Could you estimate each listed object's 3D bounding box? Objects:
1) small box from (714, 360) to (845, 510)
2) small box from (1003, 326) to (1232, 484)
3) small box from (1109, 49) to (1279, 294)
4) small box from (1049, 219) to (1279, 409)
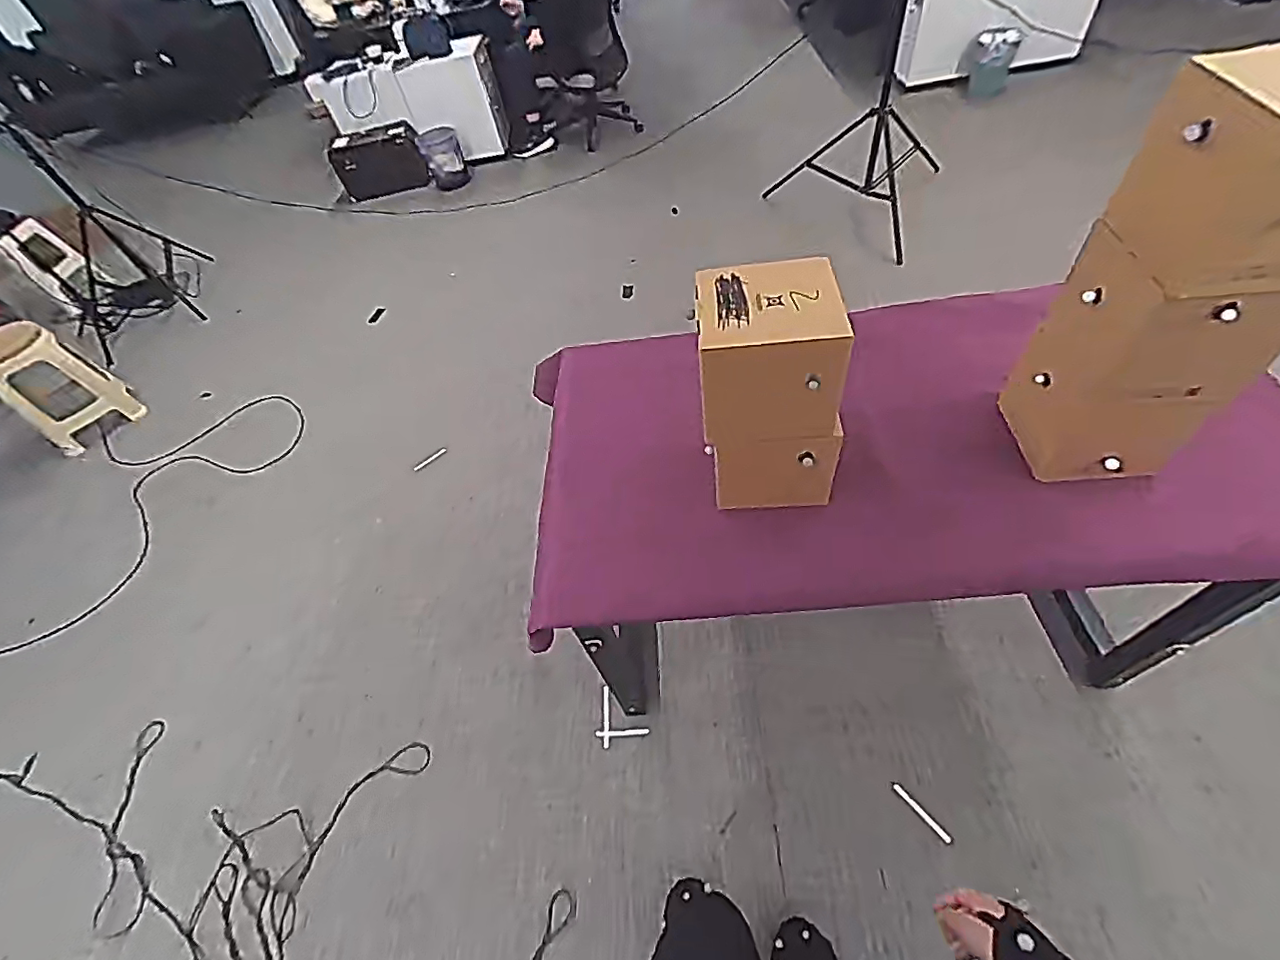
[{"bbox_3d":[0.209,-0.065,0.853,0.179,0.176,0.168,-3,52,9],"label":"small box"},{"bbox_3d":[0.680,-0.114,0.803,0.168,0.176,0.179,-4,53,8],"label":"small box"},{"bbox_3d":[0.633,-0.303,0.540,0.168,0.176,0.179,-2,52,10],"label":"small box"},{"bbox_3d":[0.656,-0.209,0.672,0.168,0.176,0.179,-2,52,10],"label":"small box"}]
